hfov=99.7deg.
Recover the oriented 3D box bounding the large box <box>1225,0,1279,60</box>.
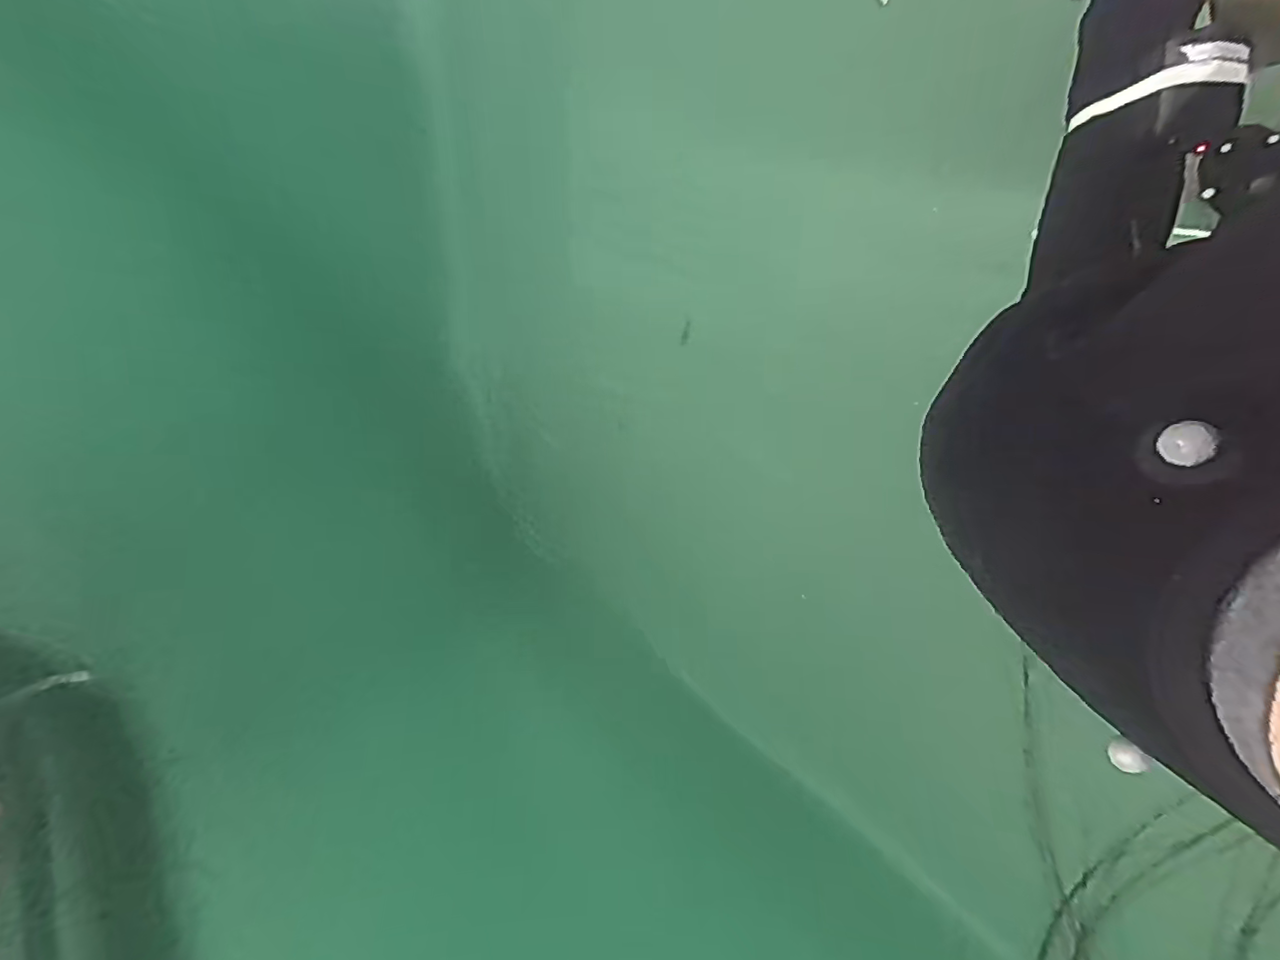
[{"bbox_3d":[0.592,-0.476,0.246,0.408,0.320,0.320,13,115,47],"label":"large box"}]
